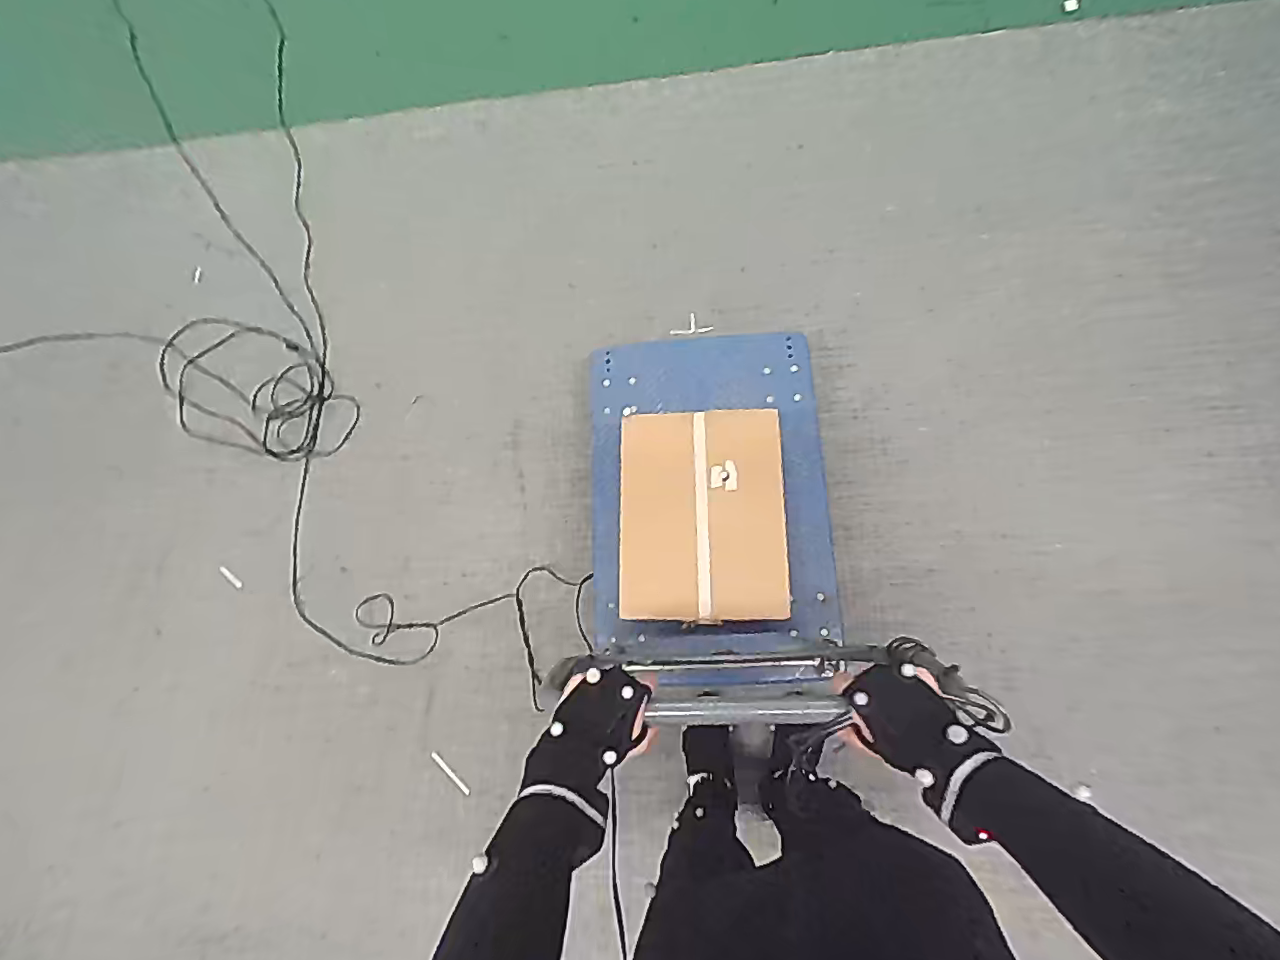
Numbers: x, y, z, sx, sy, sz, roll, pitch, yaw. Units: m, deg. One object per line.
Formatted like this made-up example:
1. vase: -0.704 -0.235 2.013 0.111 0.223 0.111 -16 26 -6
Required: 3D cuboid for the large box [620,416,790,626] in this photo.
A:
1. large box: 0.133 0.108 1.178 0.320 0.320 0.408 -1 75 6
